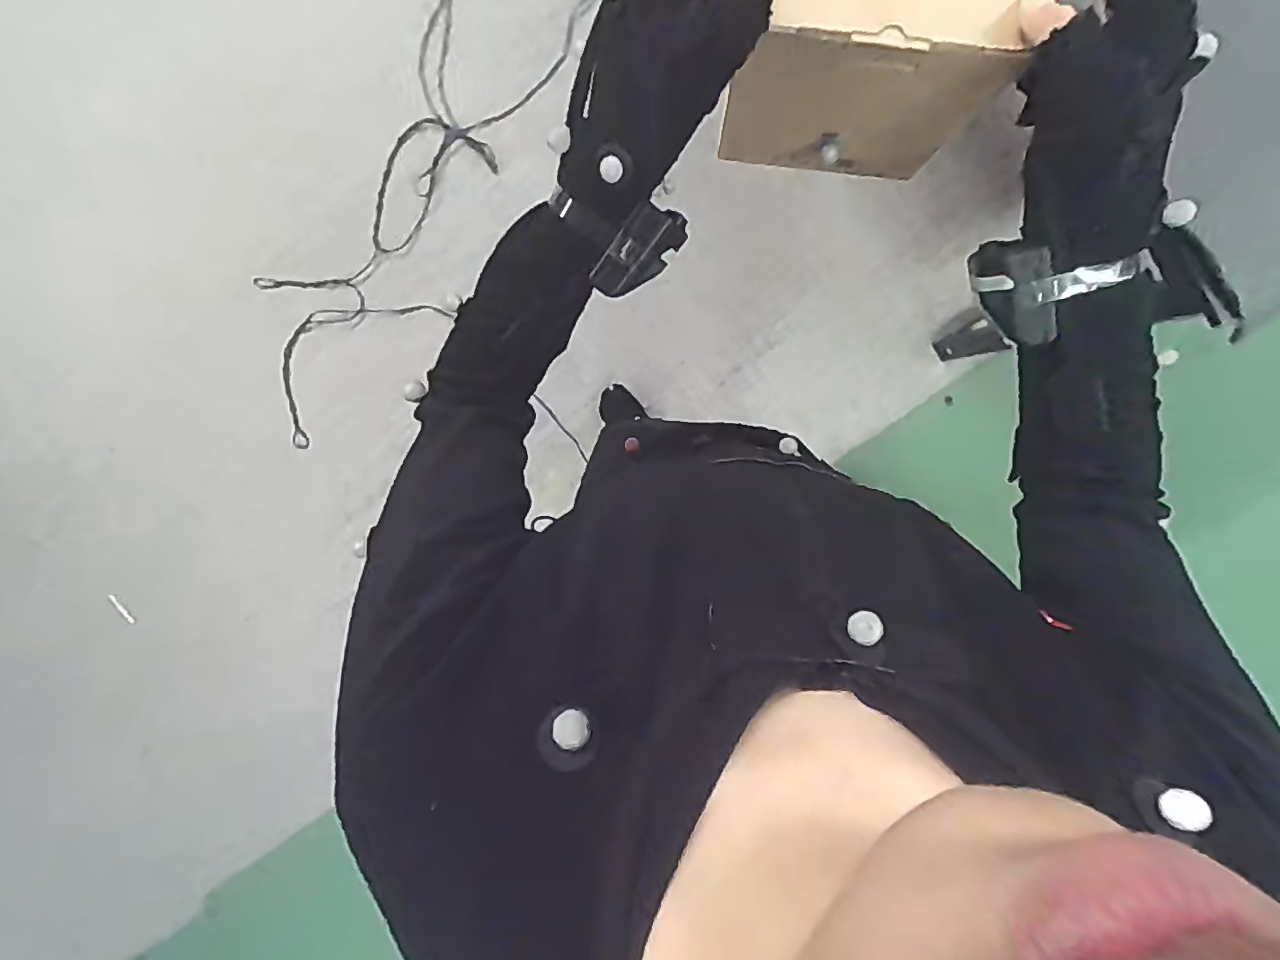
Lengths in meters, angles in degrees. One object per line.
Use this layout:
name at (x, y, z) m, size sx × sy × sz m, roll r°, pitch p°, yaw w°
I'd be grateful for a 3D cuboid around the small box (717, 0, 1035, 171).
small box at (0.148, -0.346, 0.370) m, size 0.168 × 0.176 × 0.179 m, roll 7°, pitch 98°, yaw 3°
